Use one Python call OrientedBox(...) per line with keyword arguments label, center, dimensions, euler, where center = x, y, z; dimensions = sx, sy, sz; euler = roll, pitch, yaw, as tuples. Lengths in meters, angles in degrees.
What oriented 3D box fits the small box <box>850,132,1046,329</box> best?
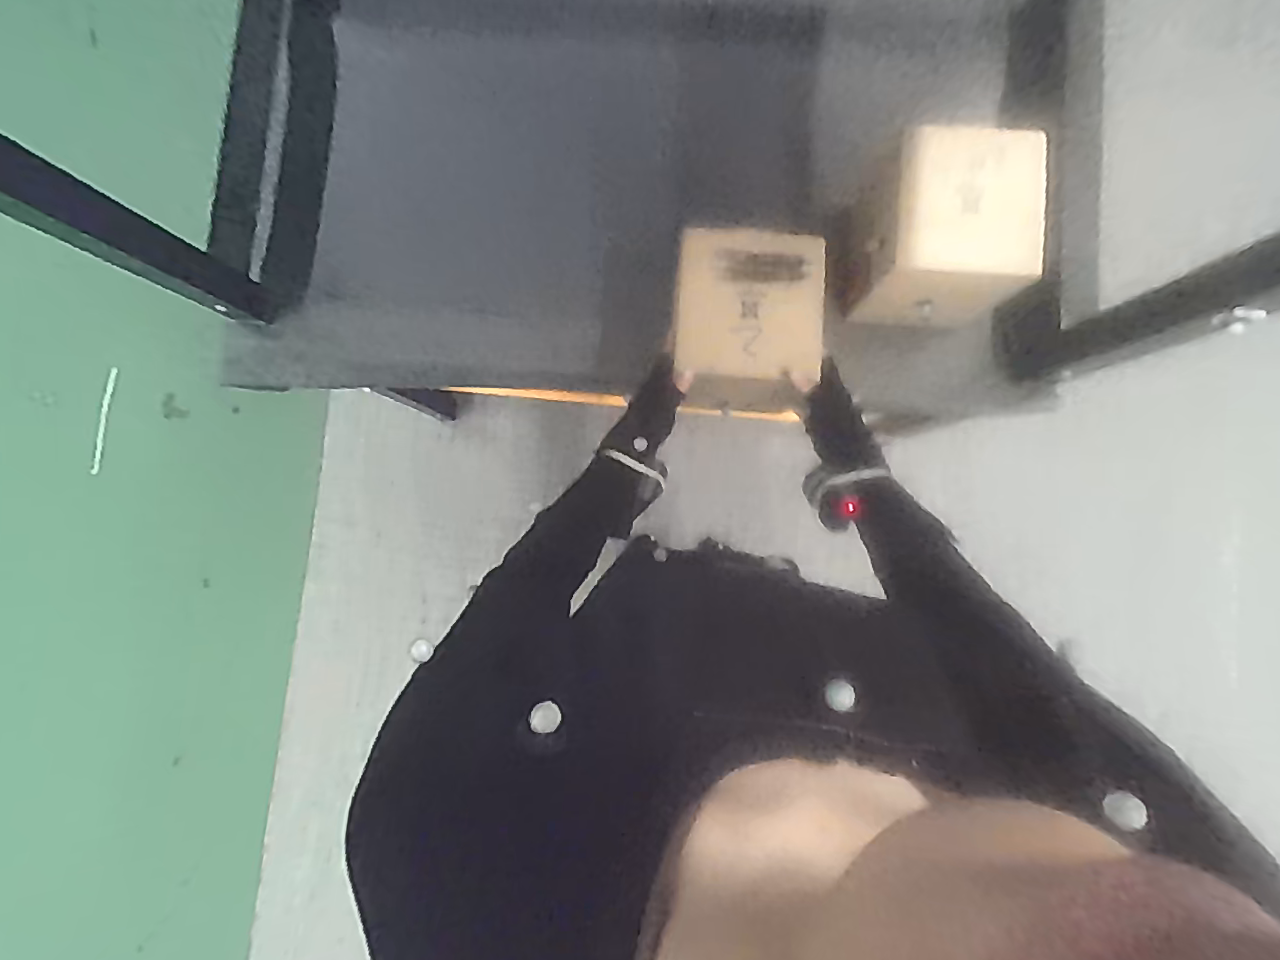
OrientedBox(label="small box", center=(0.386, -0.311, 0.706), dimensions=(0.168, 0.176, 0.179), euler=(5, 84, 3))
